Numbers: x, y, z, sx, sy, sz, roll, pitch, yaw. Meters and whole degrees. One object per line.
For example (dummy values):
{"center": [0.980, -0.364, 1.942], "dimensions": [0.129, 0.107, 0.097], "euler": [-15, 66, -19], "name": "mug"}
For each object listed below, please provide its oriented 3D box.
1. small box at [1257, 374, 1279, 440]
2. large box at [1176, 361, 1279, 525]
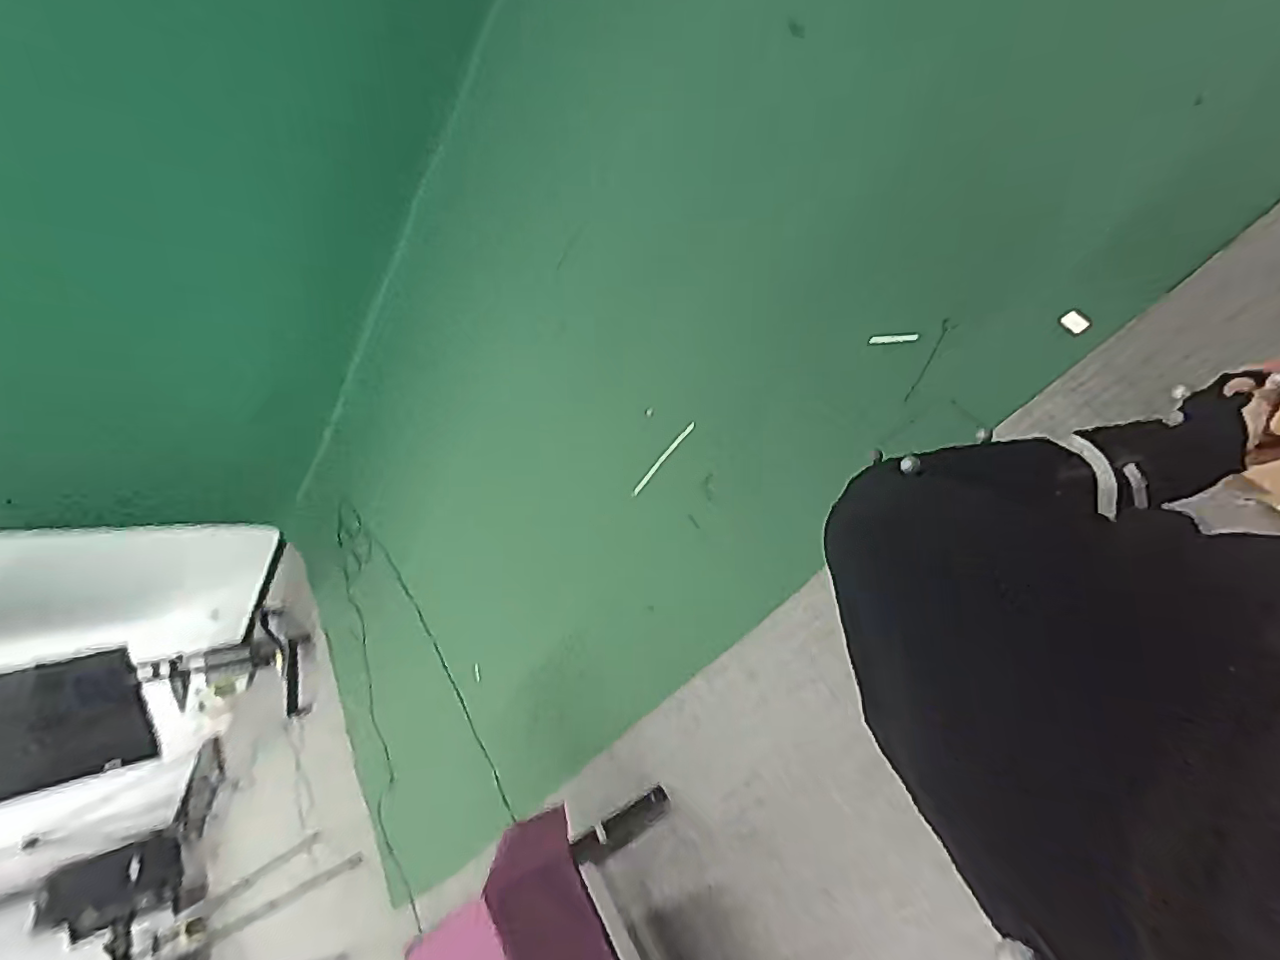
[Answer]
{"center": [0.599, -0.088, 0.383], "dimensions": [0.168, 0.176, 0.179], "euler": [33, 117, 39], "name": "small box"}
{"center": [1.162, -0.096, 0.818], "dimensions": [0.408, 0.320, 0.320], "euler": [-50, 58, 27], "name": "large box"}
